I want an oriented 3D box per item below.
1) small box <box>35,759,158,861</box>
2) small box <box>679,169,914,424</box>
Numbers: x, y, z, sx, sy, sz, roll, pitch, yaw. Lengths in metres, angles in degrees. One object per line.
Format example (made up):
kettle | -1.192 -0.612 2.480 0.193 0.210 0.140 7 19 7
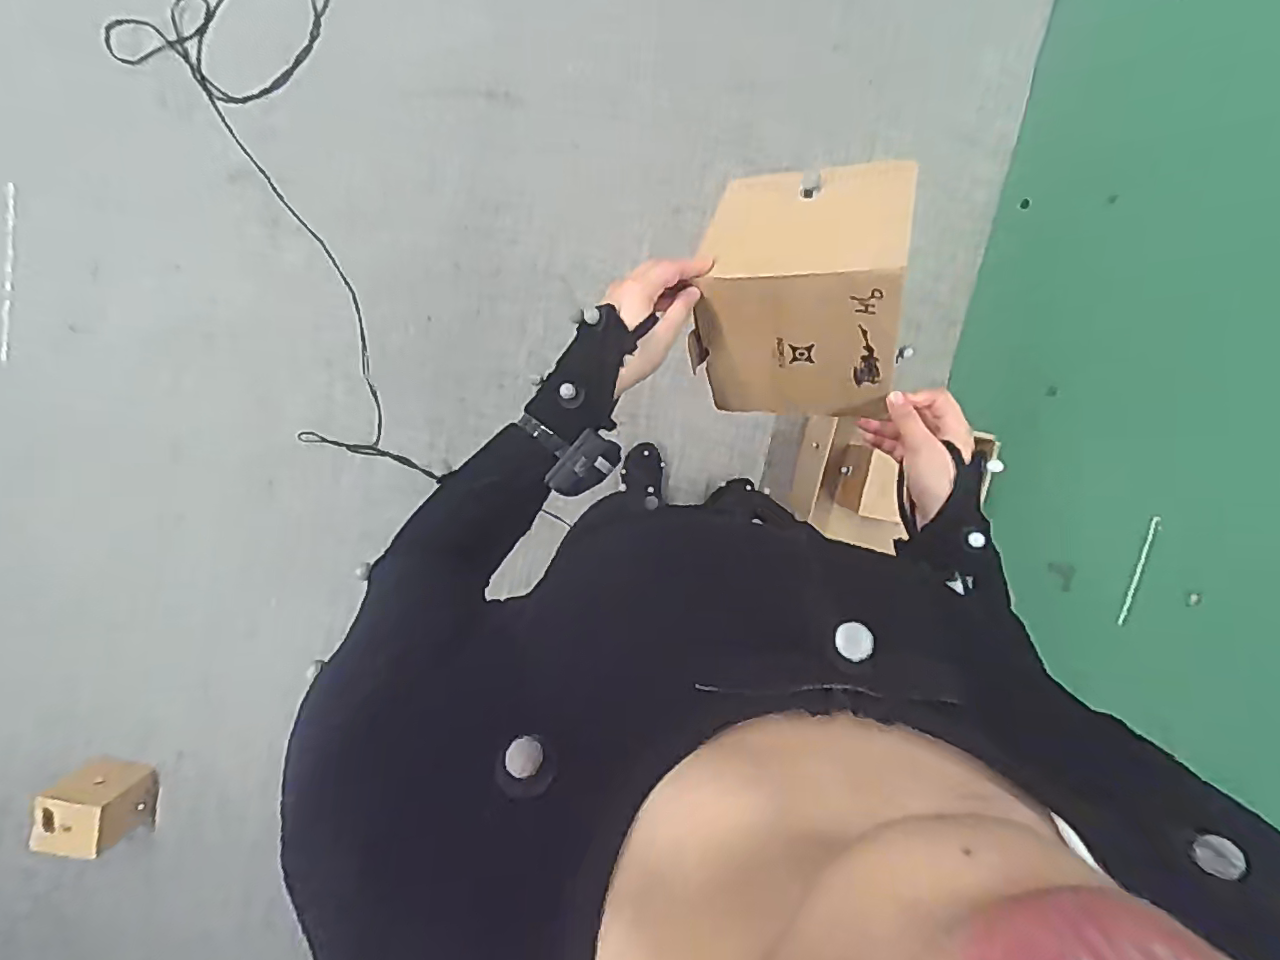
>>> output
small box | -1.542 0.931 1.540 0.179 0.176 0.168 13 97 -1
small box | 0.159 -0.177 0.532 0.179 0.168 0.176 7 56 24
